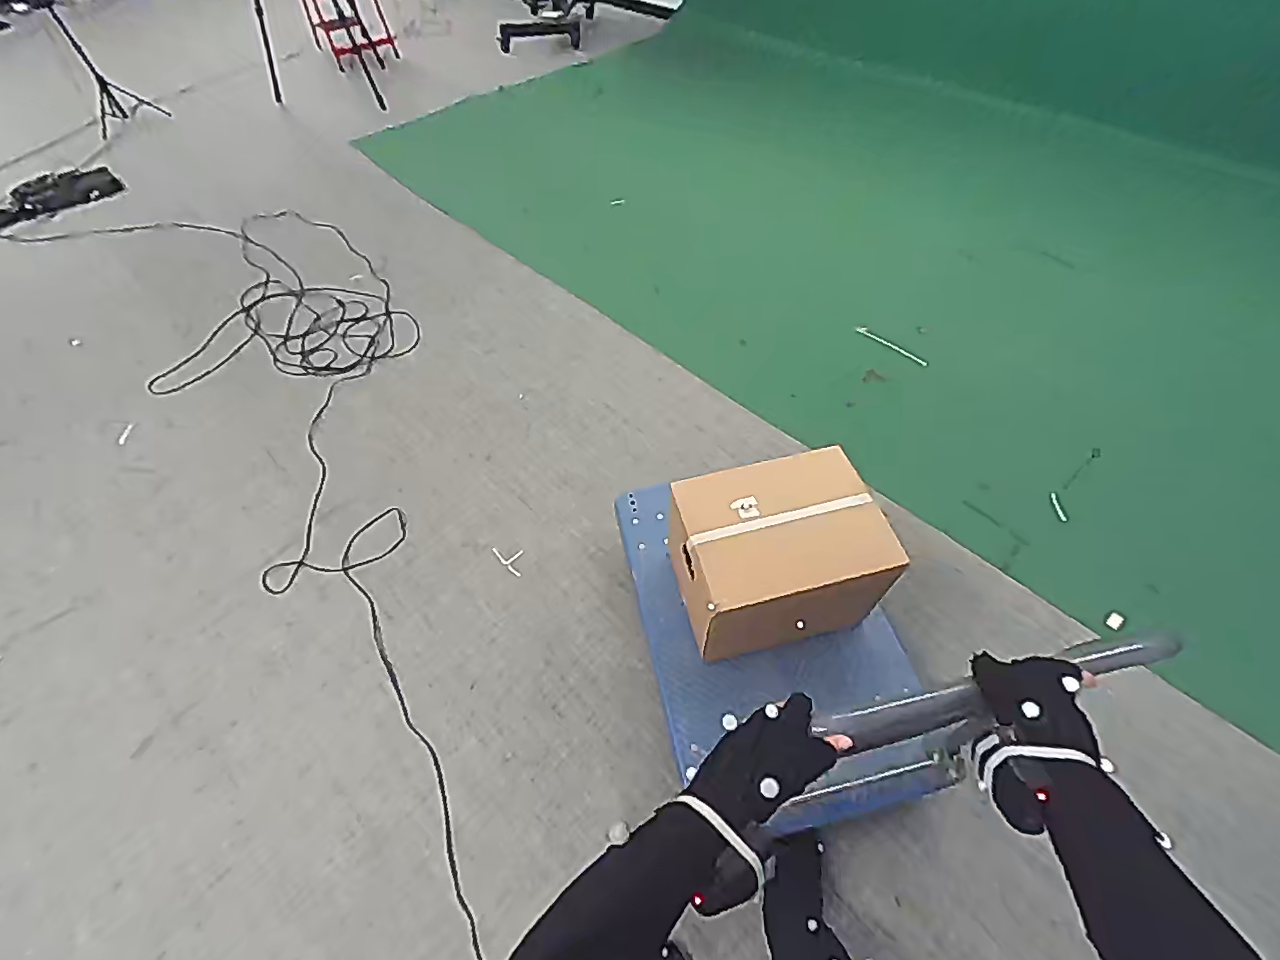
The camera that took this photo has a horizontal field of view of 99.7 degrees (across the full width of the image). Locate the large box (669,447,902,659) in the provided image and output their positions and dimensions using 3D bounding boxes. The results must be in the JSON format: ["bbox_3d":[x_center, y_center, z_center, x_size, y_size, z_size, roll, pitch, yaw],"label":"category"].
[{"bbox_3d":[0.301,0.175,1.251,0.408,0.320,0.320,-13,55,-7],"label":"large box"}]
